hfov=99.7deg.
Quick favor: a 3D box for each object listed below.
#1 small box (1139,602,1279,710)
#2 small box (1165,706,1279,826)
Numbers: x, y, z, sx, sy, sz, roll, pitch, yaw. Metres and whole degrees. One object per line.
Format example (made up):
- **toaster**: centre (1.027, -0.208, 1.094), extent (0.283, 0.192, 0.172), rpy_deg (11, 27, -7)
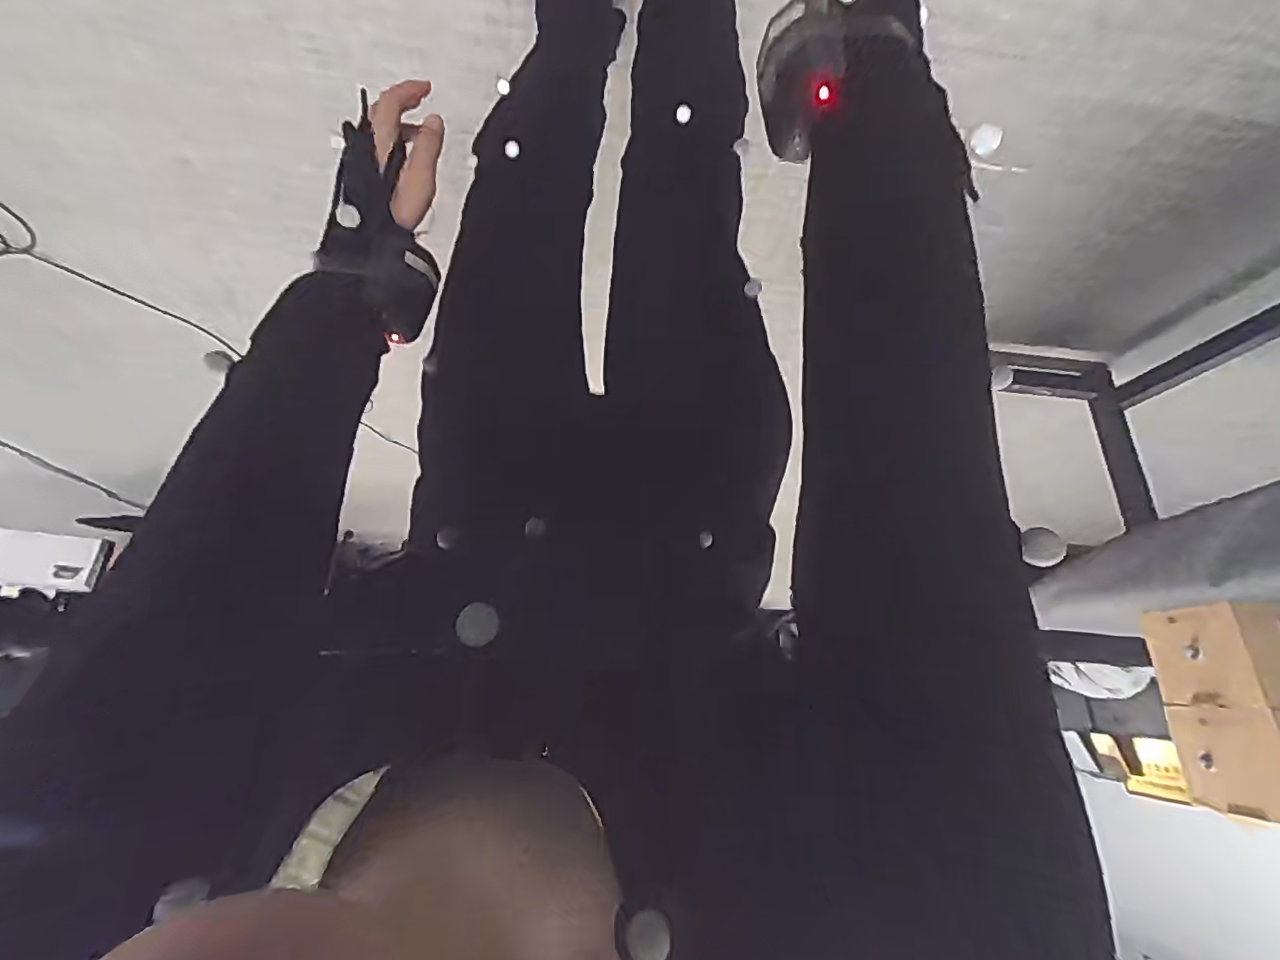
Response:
- **small box**: centre (1.039, 0.308, 0.943), extent (0.179, 0.176, 0.168), rpy_deg (4, 159, -4)
- **small box**: centre (1.035, 0.462, 0.889), extent (0.179, 0.176, 0.168), rpy_deg (3, 160, -7)
